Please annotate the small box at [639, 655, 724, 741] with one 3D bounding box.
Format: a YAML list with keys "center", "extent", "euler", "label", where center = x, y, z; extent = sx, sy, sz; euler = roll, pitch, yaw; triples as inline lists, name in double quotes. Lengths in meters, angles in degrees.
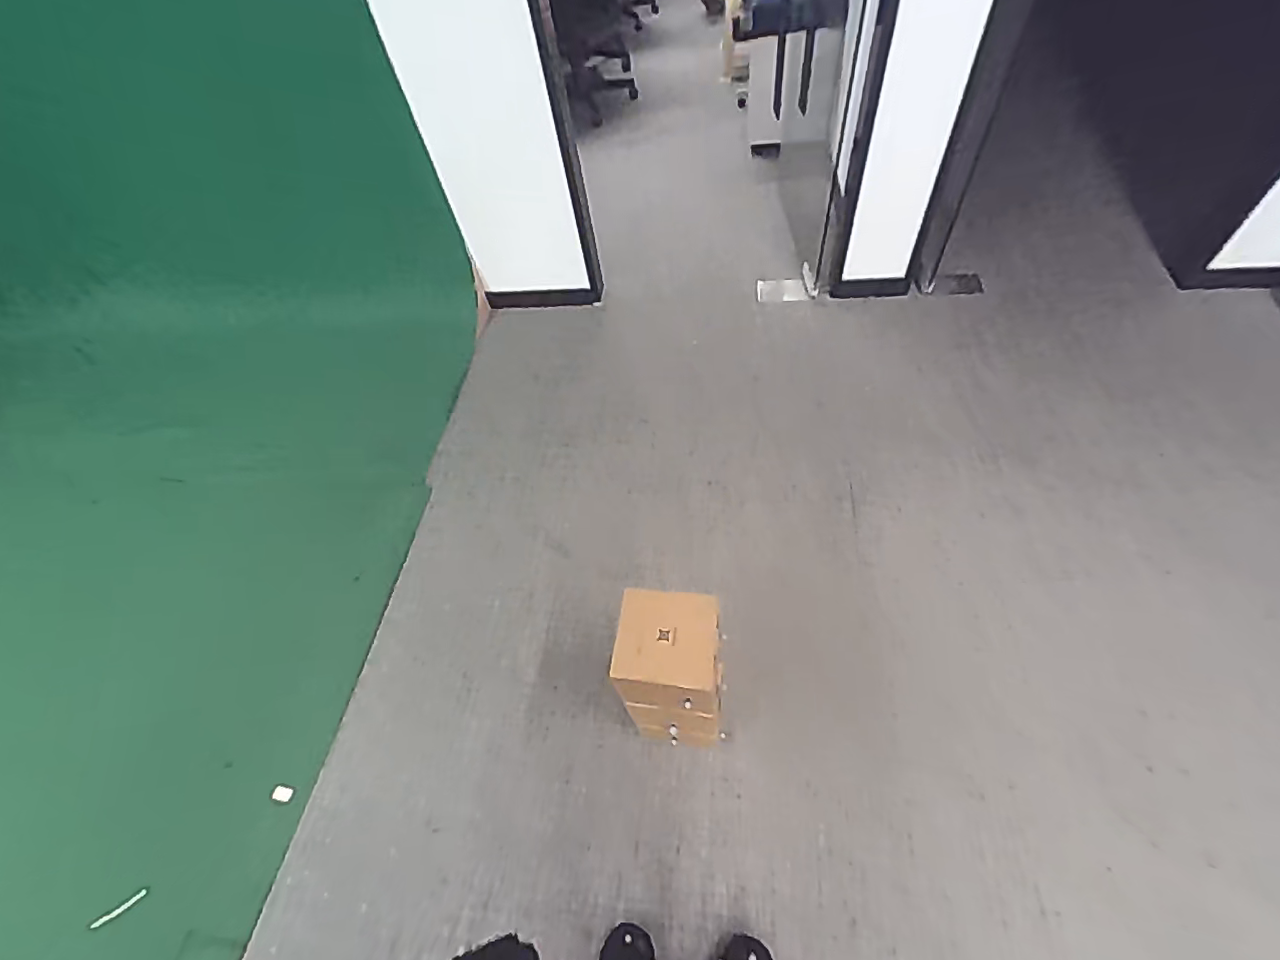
- center: [0.101, 0.502, 1.261]
  extent: [0.179, 0.176, 0.168]
  euler: [3, 56, 9]
  label: "small box"

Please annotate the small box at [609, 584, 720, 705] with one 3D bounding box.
- center: [0.055, 0.309, 1.003]
  extent: [0.179, 0.176, 0.168]
  euler: [3, 55, 12]
  label: "small box"

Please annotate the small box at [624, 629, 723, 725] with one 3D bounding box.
- center: [0.077, 0.404, 1.132]
  extent: [0.179, 0.176, 0.168]
  euler: [5, 57, 12]
  label: "small box"
